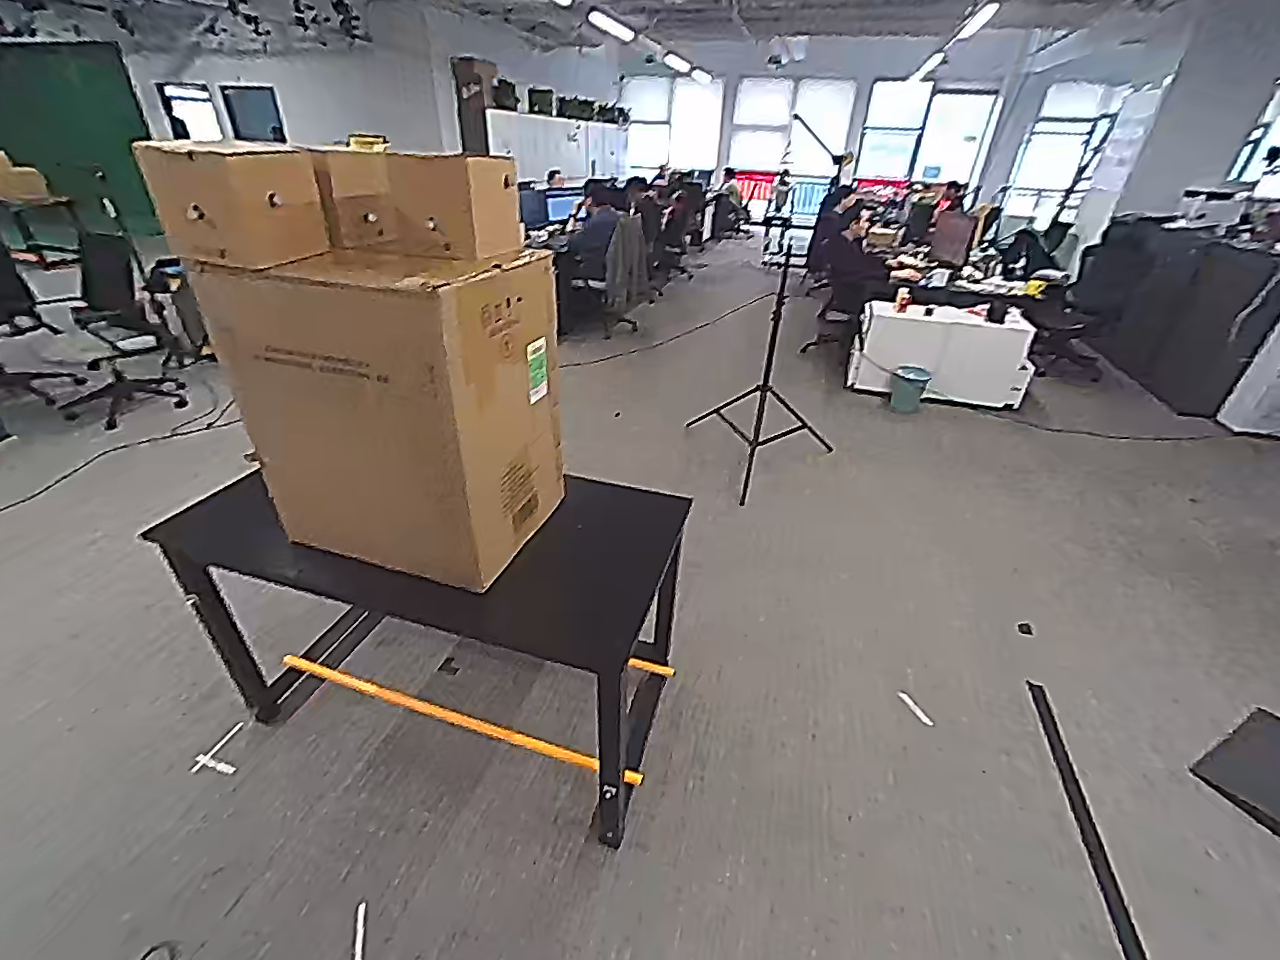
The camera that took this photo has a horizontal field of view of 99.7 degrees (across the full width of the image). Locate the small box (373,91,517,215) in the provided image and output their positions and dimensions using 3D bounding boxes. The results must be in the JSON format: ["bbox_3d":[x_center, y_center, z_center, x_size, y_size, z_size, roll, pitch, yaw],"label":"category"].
[{"bbox_3d":[-0.328,-0.566,0.946,0.168,0.176,0.179,9,31,13],"label":"small box"}]

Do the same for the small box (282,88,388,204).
[{"bbox_3d":[-0.605,-0.614,1.004,0.179,0.176,0.168,13,33,13],"label":"small box"}]

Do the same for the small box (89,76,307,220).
[{"bbox_3d":[-0.657,-0.511,0.834,0.168,0.176,0.179,11,36,8],"label":"small box"}]
